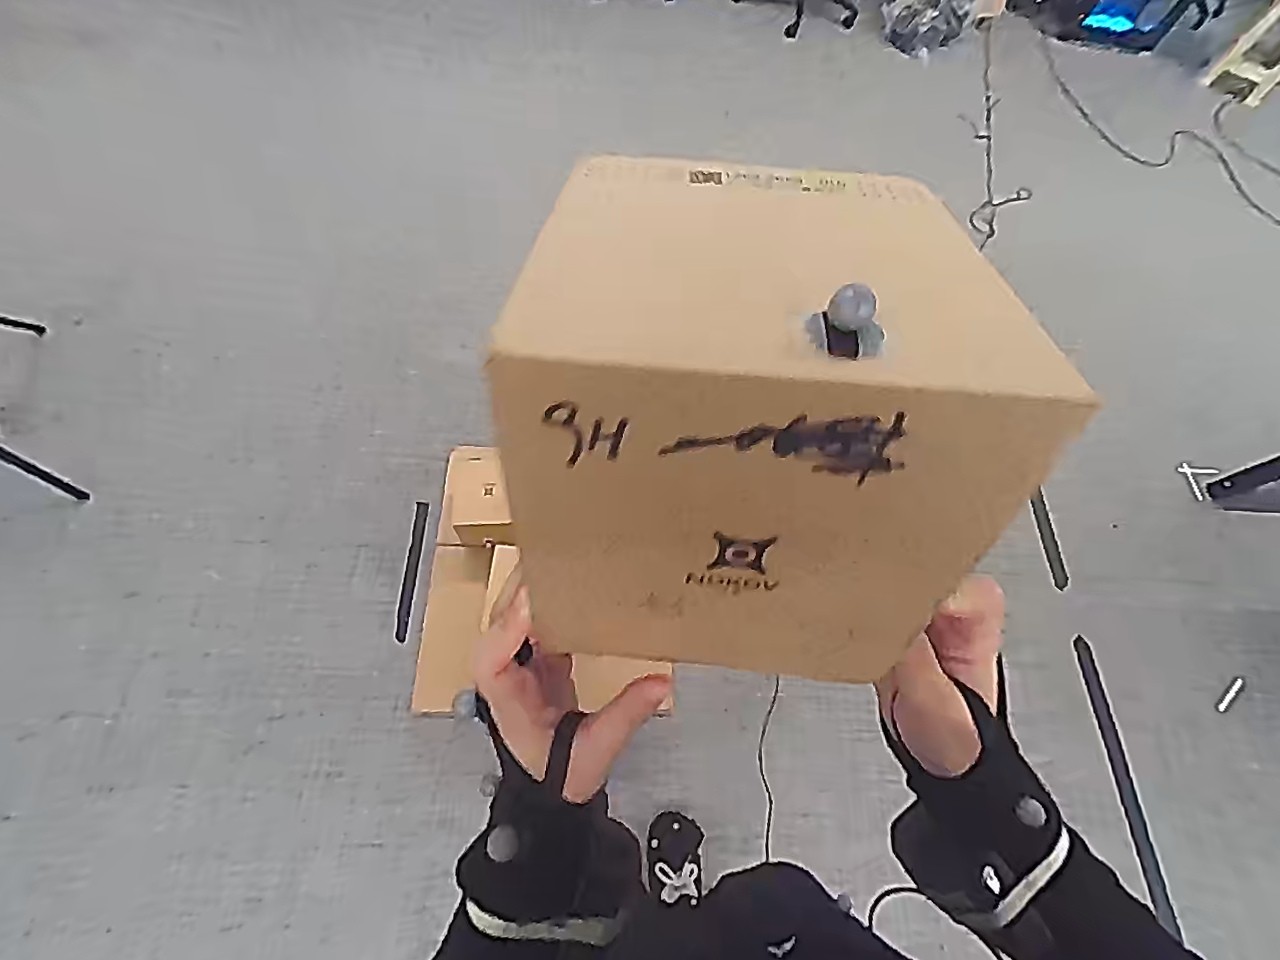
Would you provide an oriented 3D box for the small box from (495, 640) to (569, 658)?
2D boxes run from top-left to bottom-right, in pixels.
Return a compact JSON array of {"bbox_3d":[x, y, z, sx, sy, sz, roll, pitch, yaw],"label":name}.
[{"bbox_3d":[-0.239,0.314,1.273,0.168,0.176,0.179,5,66,-6],"label":"small box"}]

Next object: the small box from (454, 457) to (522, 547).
[{"bbox_3d":[-0.370,0.057,1.376,0.168,0.176,0.179,-3,65,-7],"label":"small box"}]

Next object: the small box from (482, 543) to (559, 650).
[{"bbox_3d":[-0.220,0.247,1.124,0.168,0.176,0.179,6,66,-5],"label":"small box"}]

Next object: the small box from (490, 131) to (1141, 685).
[{"bbox_3d":[0.046,-0.028,0.247,0.168,0.179,0.176,5,49,1],"label":"small box"}]
